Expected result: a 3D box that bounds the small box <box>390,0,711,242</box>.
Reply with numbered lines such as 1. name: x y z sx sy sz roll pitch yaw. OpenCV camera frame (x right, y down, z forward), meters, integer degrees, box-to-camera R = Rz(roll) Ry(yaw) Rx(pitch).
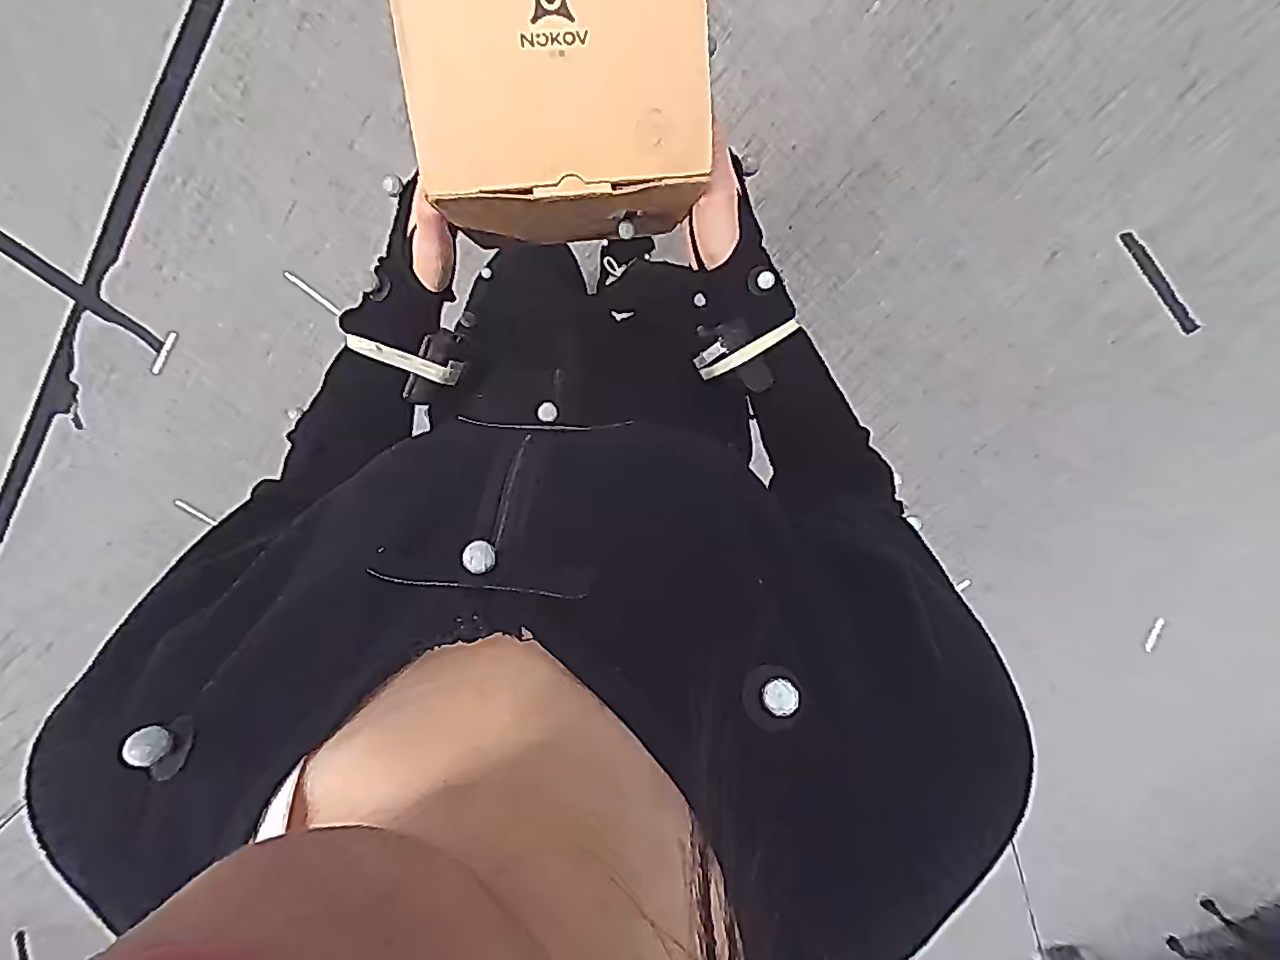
1. small box: -0.054 -0.266 0.359 0.168 0.176 0.179 -7 104 -5
